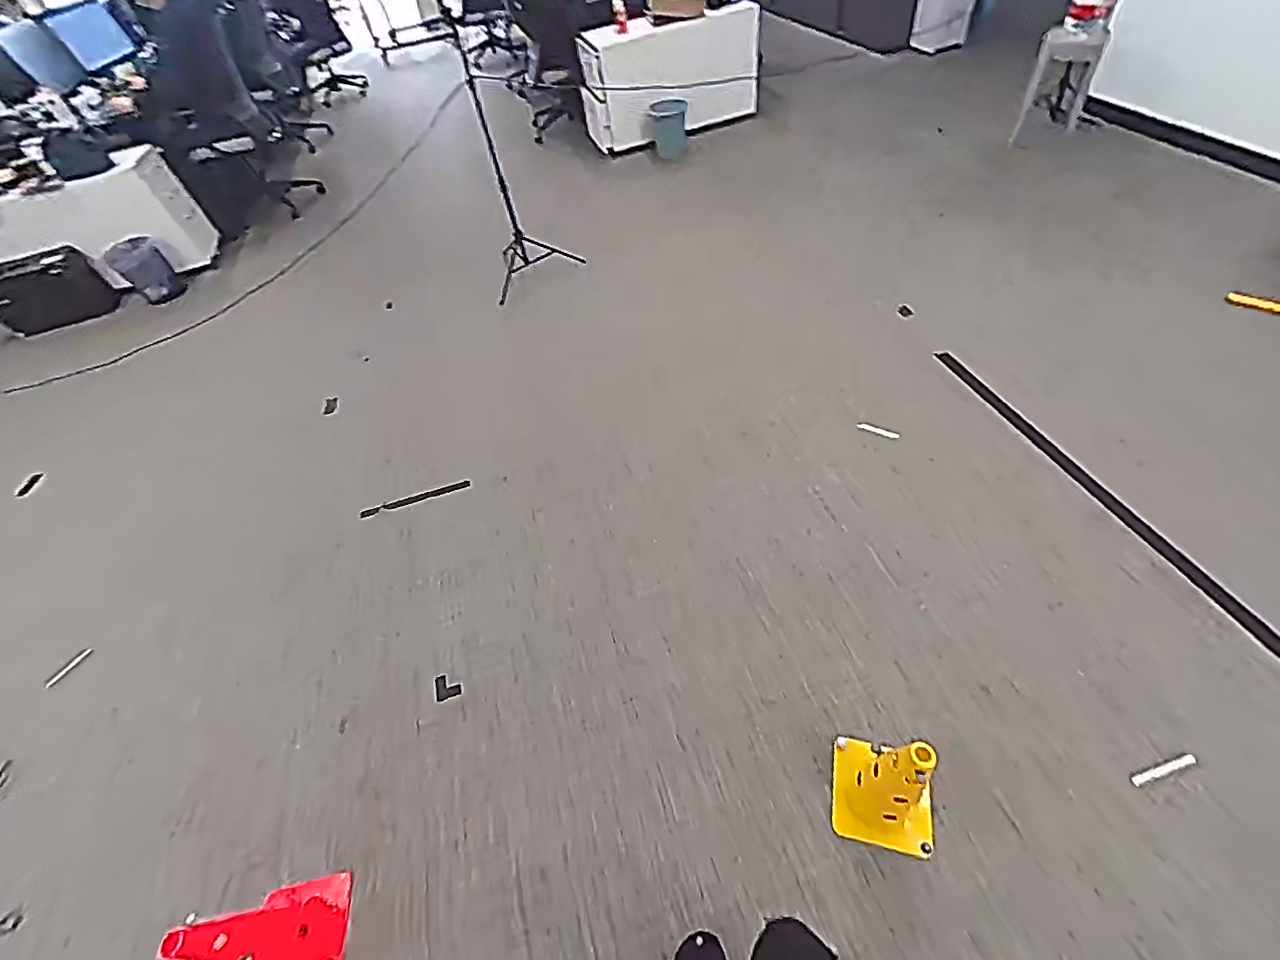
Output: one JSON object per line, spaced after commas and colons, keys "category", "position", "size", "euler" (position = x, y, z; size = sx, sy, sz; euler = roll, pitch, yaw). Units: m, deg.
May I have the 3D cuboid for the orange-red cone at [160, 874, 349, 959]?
{"category": "orange-red cone", "position": [-0.758, 0.880, 1.036], "size": [0.199, 0.360, 0.198], "euler": [-12, 51, -1]}
